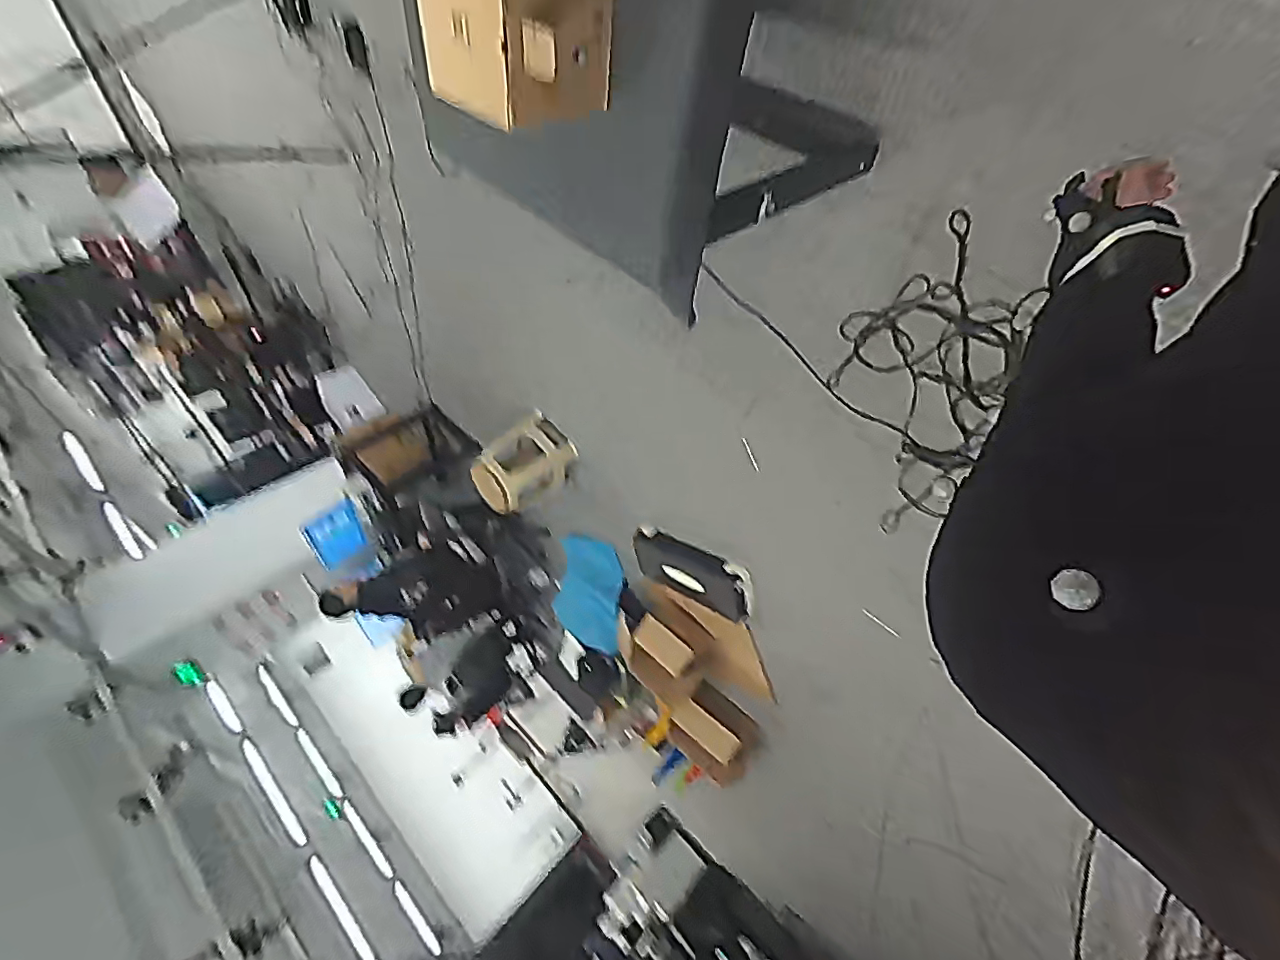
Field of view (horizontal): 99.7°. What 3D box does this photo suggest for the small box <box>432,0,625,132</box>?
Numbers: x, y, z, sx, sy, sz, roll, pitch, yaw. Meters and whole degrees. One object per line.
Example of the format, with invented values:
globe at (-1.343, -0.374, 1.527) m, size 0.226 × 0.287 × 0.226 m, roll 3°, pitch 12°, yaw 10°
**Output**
small box at (-0.142, -0.572, 0.690) m, size 0.179 × 0.176 × 0.168 m, roll 39°, pitch 145°, yaw 23°
